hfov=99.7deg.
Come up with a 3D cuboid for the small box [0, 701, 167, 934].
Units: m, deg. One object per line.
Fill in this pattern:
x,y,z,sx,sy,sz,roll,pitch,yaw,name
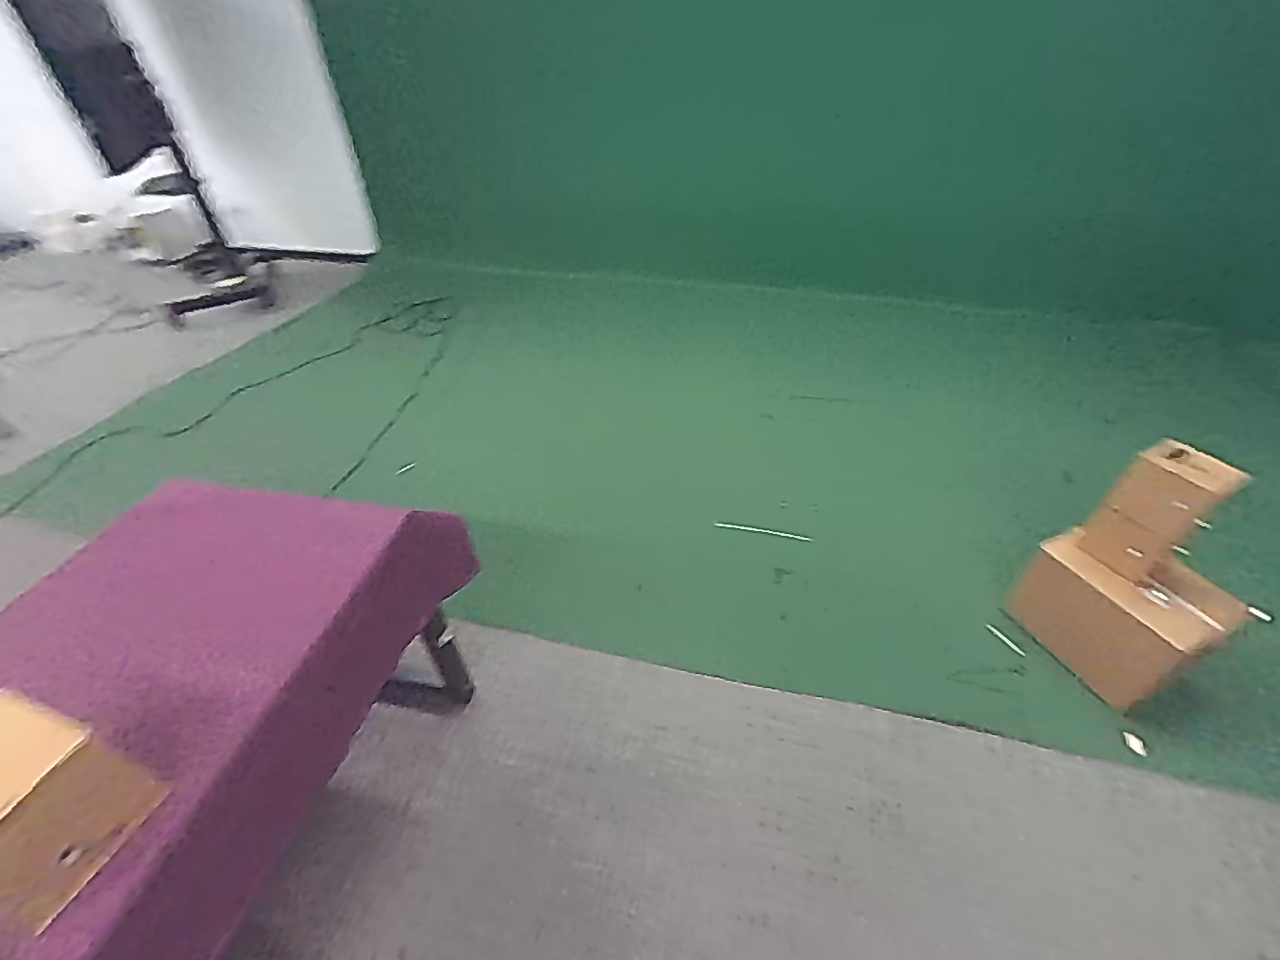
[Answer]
-0.745,0.404,0.650,0.179,0.176,0.168,12,42,15,small box
